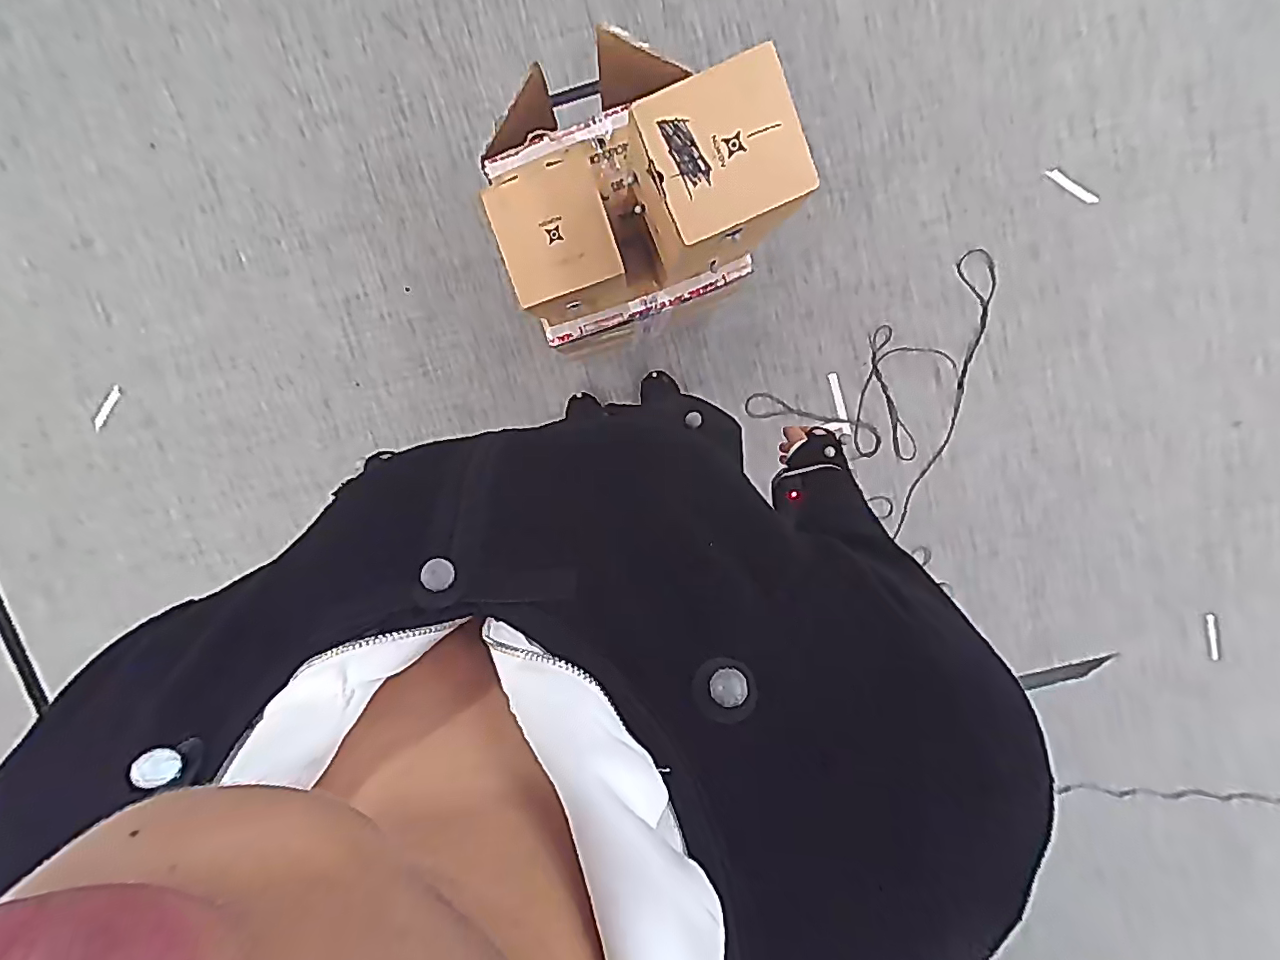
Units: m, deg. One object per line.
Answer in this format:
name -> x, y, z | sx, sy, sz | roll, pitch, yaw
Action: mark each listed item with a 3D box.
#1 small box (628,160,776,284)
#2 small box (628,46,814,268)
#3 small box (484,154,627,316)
small box -> 0.089, -0.435, 0.866 | 0.179, 0.176, 0.168 | -23, 101, 2
small box -> 0.095, -0.398, 0.704 | 0.179, 0.176, 0.168 | -23, 101, 2
small box -> -0.126, -0.379, 0.872 | 0.168, 0.176, 0.179 | -19, 102, 4
